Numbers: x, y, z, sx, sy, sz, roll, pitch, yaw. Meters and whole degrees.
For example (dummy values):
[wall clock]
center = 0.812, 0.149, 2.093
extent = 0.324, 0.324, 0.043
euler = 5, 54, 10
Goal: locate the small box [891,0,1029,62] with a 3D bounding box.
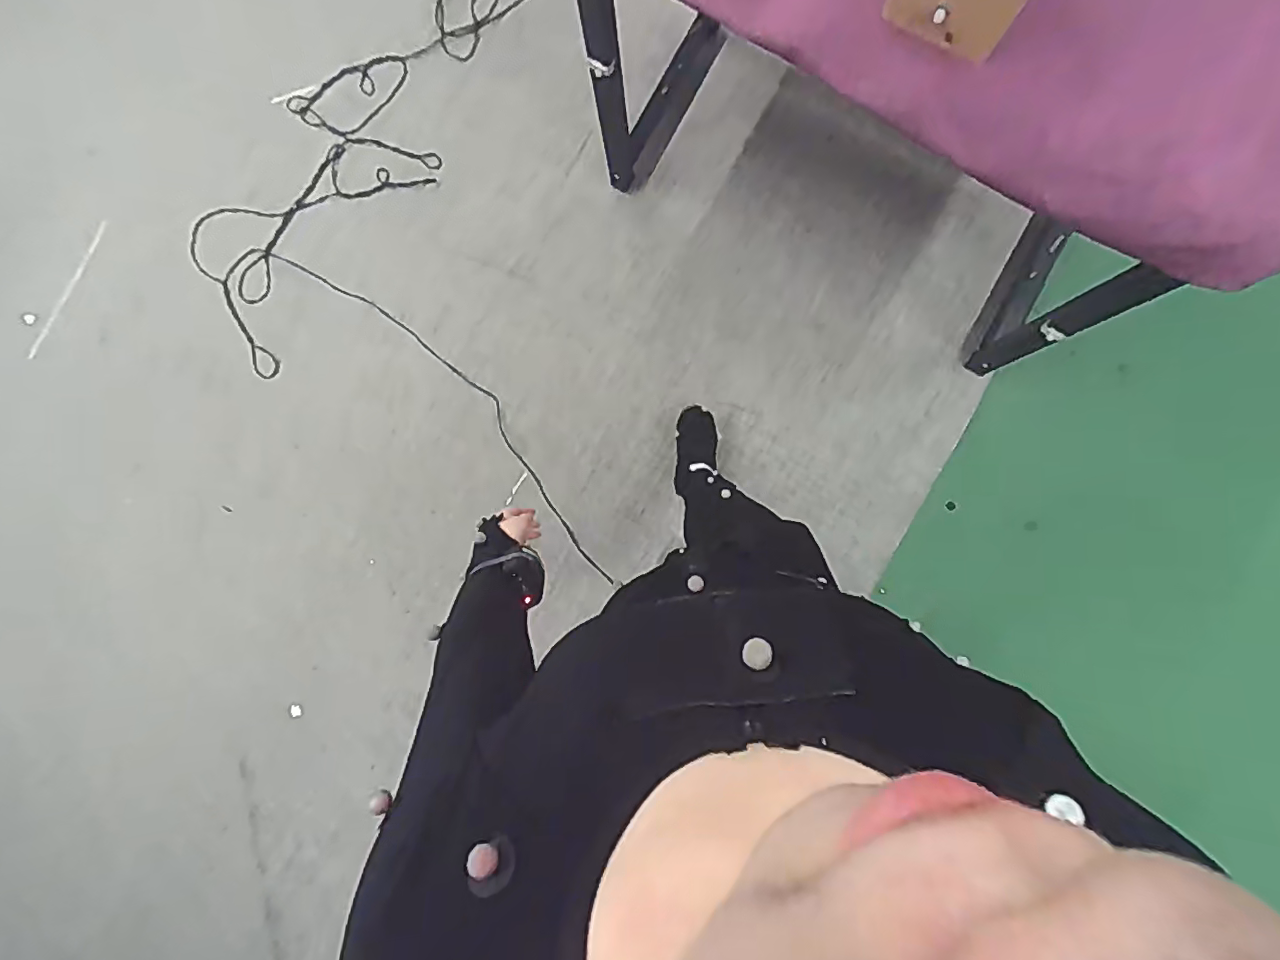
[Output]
[small box]
center = 0.465, -0.716, 0.709
extent = 0.168, 0.176, 0.179
euler = 31, 89, 5
